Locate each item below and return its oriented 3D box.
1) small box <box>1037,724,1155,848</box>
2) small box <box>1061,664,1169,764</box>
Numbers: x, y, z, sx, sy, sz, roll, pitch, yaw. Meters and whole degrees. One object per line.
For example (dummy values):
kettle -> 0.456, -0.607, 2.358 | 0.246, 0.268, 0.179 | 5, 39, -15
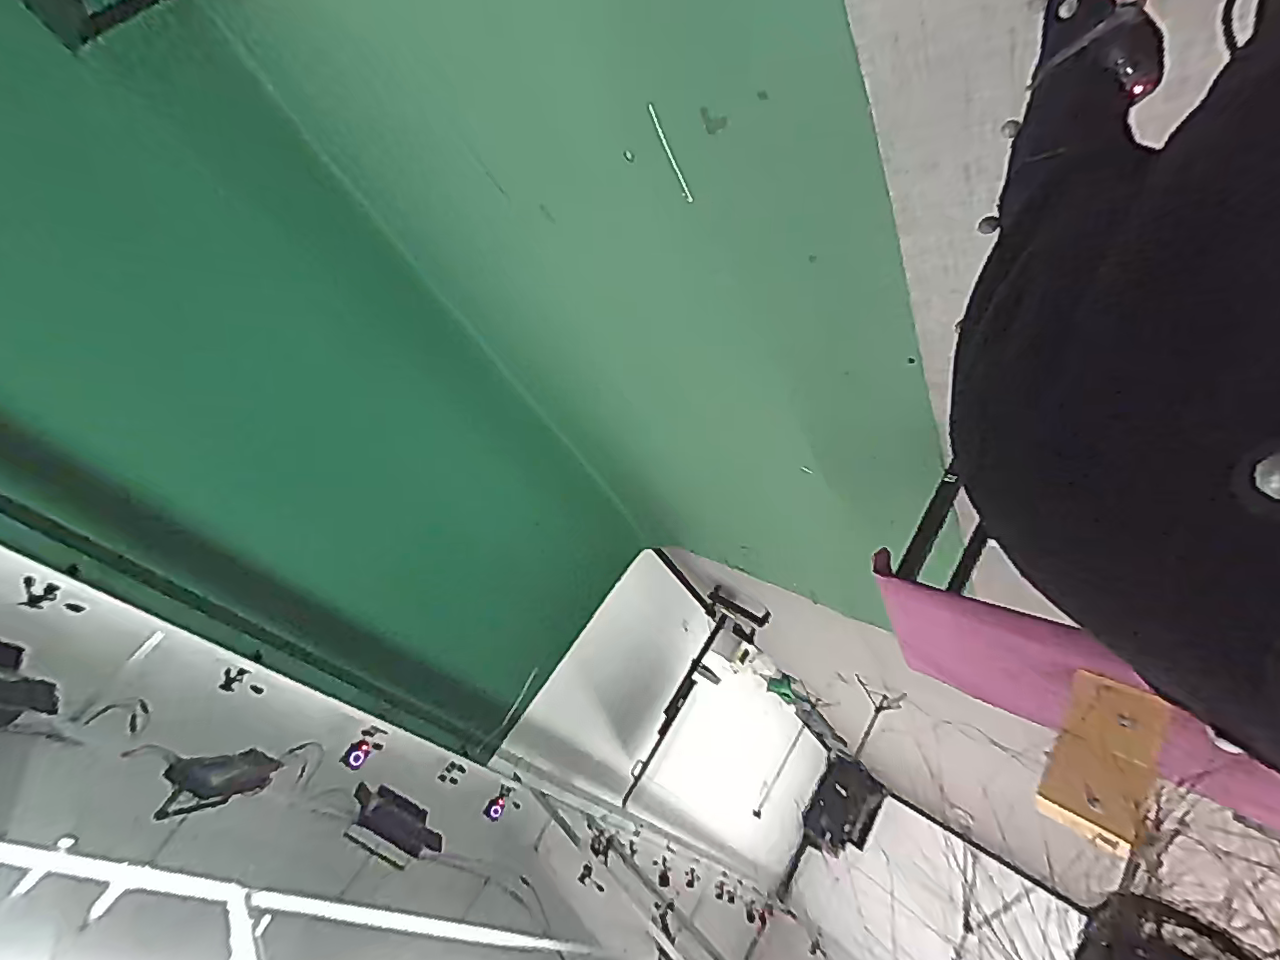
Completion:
small box -> 1.042, 0.697, 1.241 | 0.179, 0.176, 0.168 | 18, 155, 44
small box -> 1.134, 0.571, 1.295 | 0.168, 0.176, 0.179 | 15, 153, 47
